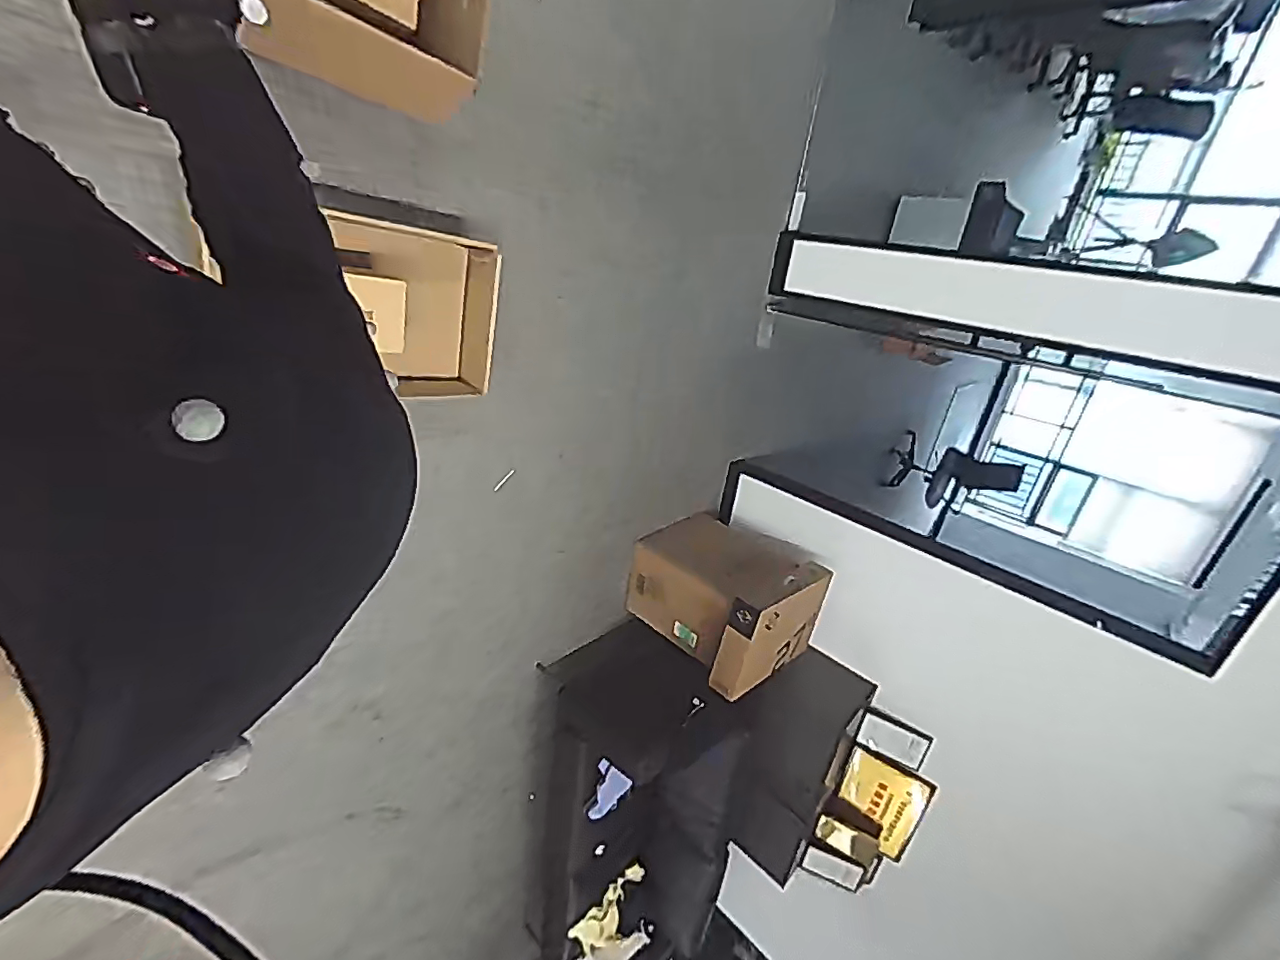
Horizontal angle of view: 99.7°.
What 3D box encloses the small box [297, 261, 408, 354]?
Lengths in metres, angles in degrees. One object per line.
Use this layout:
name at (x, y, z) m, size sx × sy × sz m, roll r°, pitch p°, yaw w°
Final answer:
small box at (-0.654, -0.392, 1.229) m, size 0.179 × 0.176 × 0.168 m, roll -12°, pitch 122°, yaw -47°
